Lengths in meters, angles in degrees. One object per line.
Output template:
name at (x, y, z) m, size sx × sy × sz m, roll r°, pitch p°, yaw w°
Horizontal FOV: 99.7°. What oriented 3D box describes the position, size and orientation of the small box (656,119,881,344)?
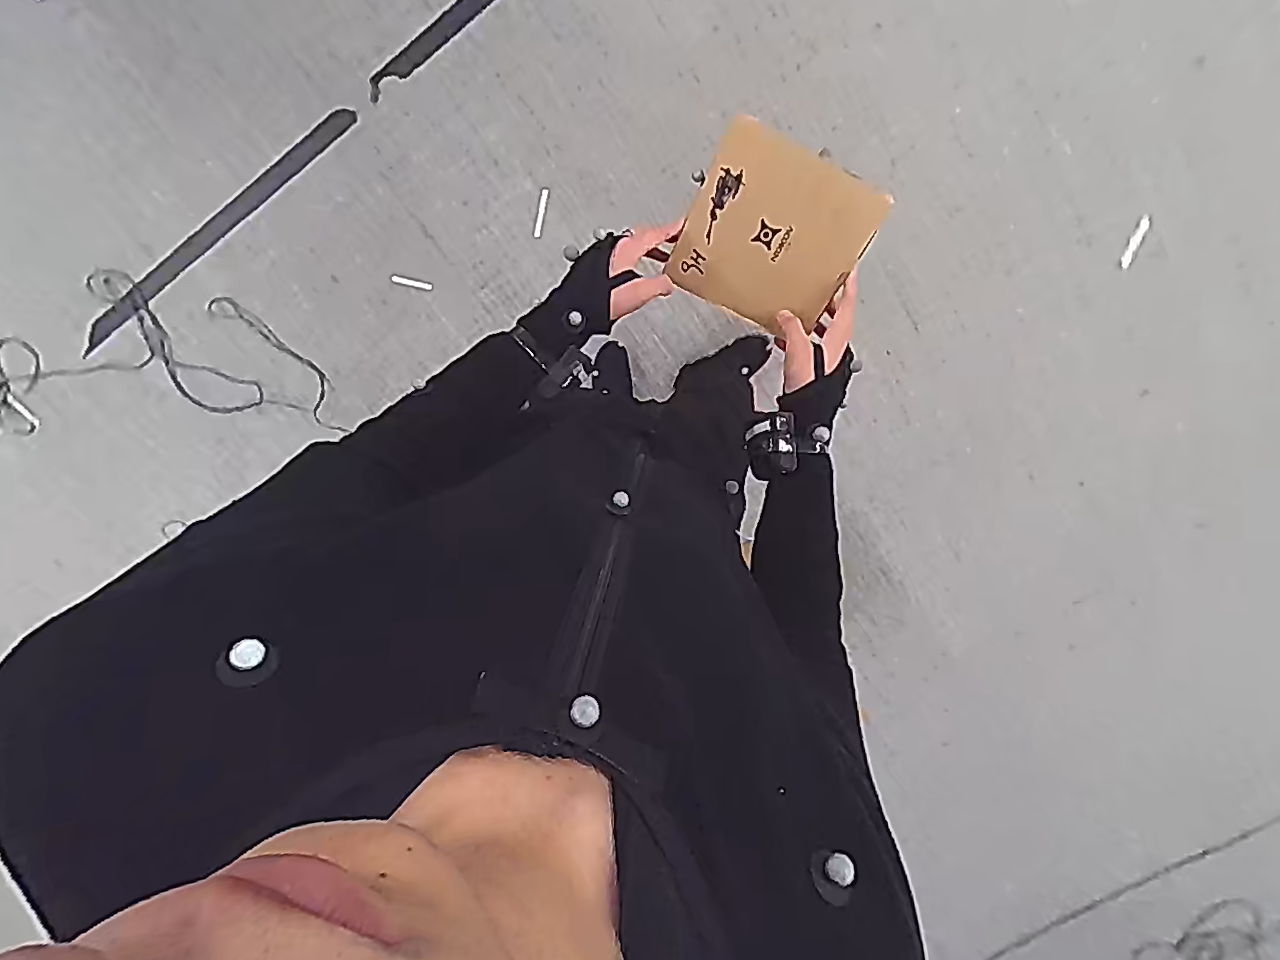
small box at (0.136, -0.290, 0.625) m, size 0.179 × 0.176 × 0.168 m, roll 24°, pitch 122°, yaw -8°
